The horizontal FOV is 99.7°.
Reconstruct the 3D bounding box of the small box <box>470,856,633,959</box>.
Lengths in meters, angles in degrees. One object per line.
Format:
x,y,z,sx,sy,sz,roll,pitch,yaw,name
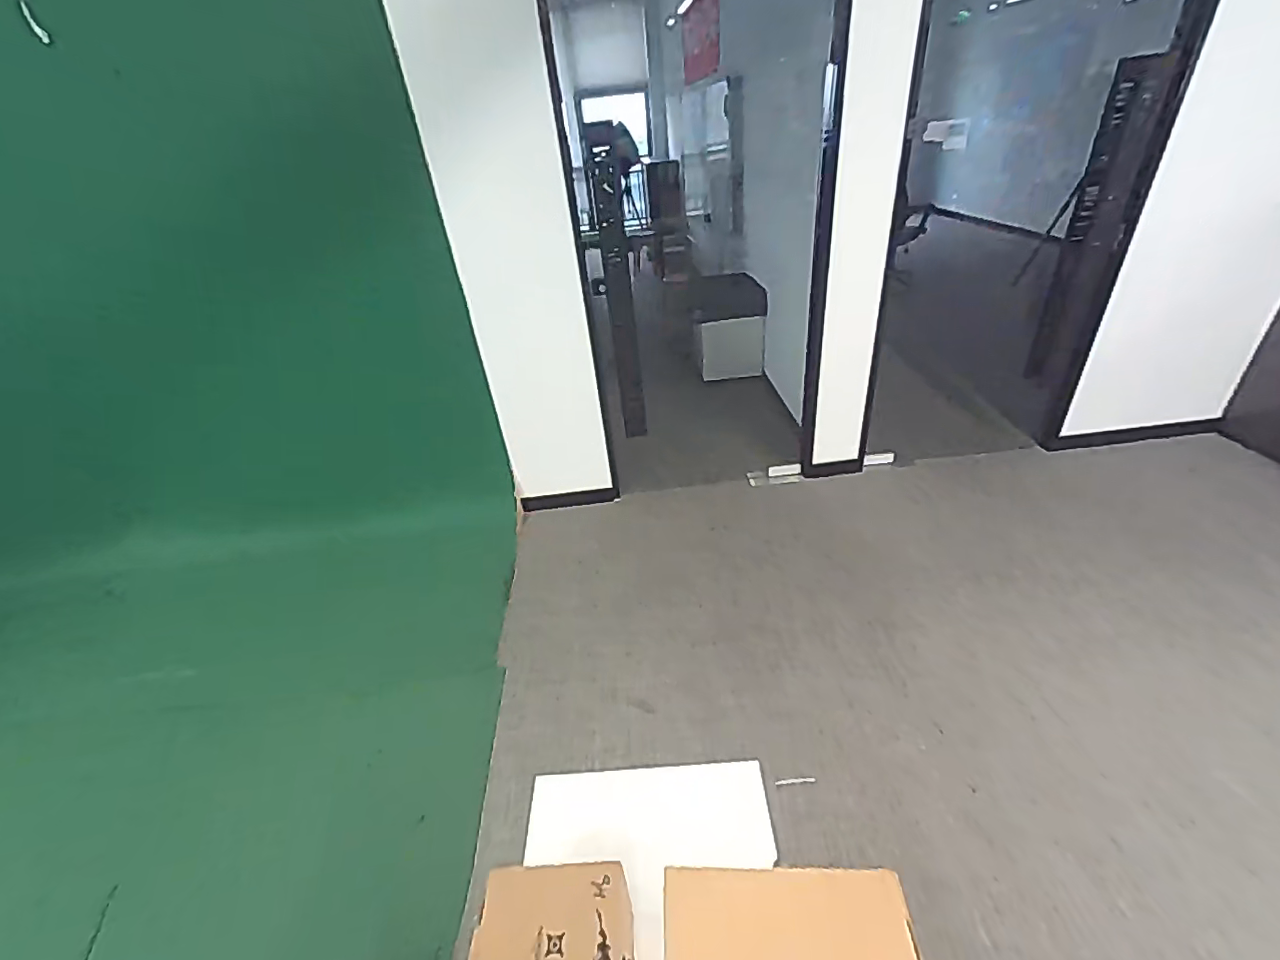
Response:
-0.104,0.604,0.677,0.179,0.176,0.168,-5,34,1,small box

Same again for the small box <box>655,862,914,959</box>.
0.104,0.405,0.397,0.179,0.176,0.168,-2,39,4,small box
